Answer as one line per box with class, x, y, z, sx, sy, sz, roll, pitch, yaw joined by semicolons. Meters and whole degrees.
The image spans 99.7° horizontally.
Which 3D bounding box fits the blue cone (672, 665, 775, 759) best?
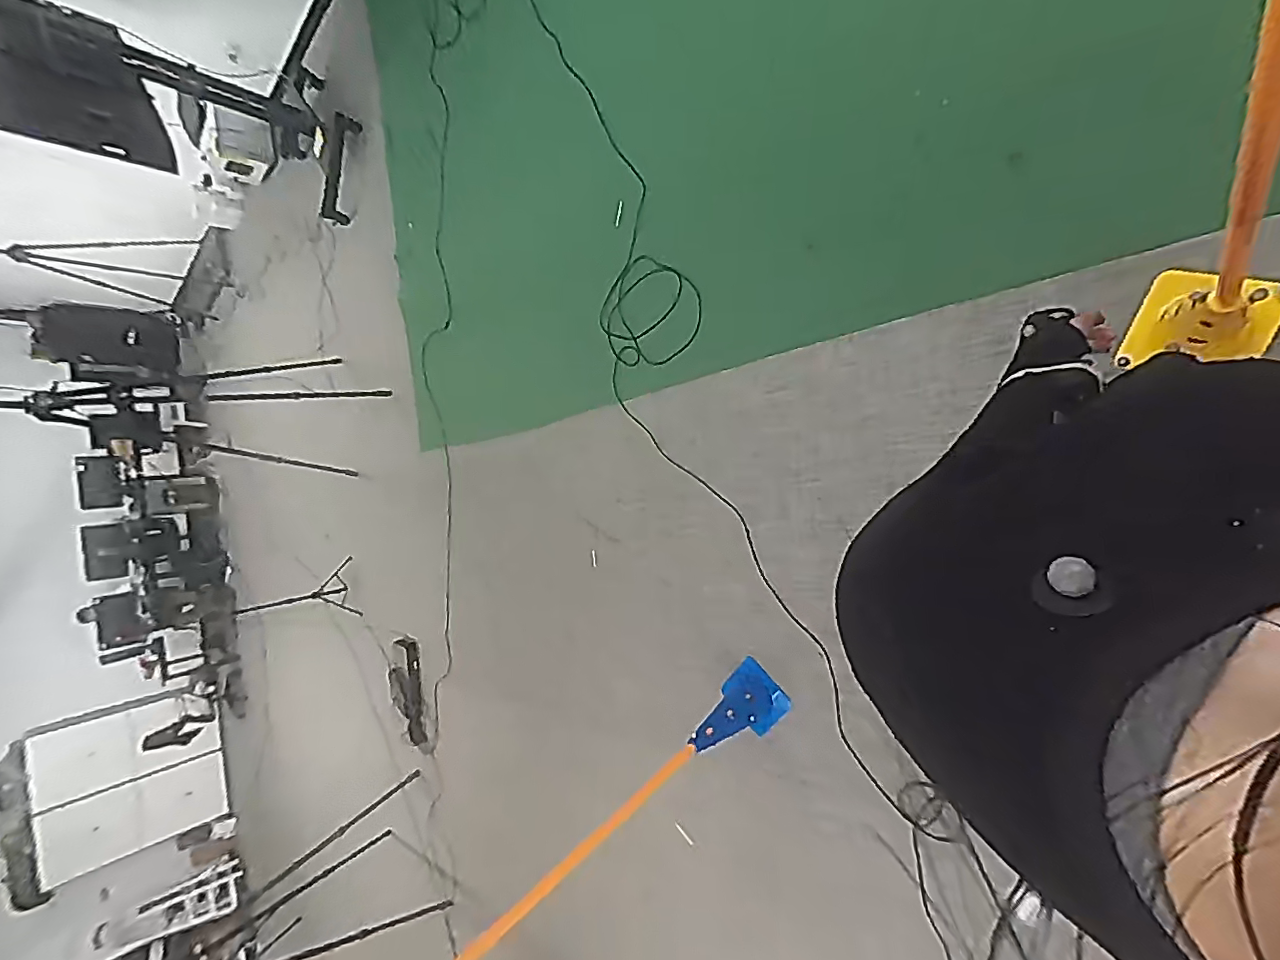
blue cone;0.231;0.748;1.647;0.192;0.380;0.193;44;123;28
